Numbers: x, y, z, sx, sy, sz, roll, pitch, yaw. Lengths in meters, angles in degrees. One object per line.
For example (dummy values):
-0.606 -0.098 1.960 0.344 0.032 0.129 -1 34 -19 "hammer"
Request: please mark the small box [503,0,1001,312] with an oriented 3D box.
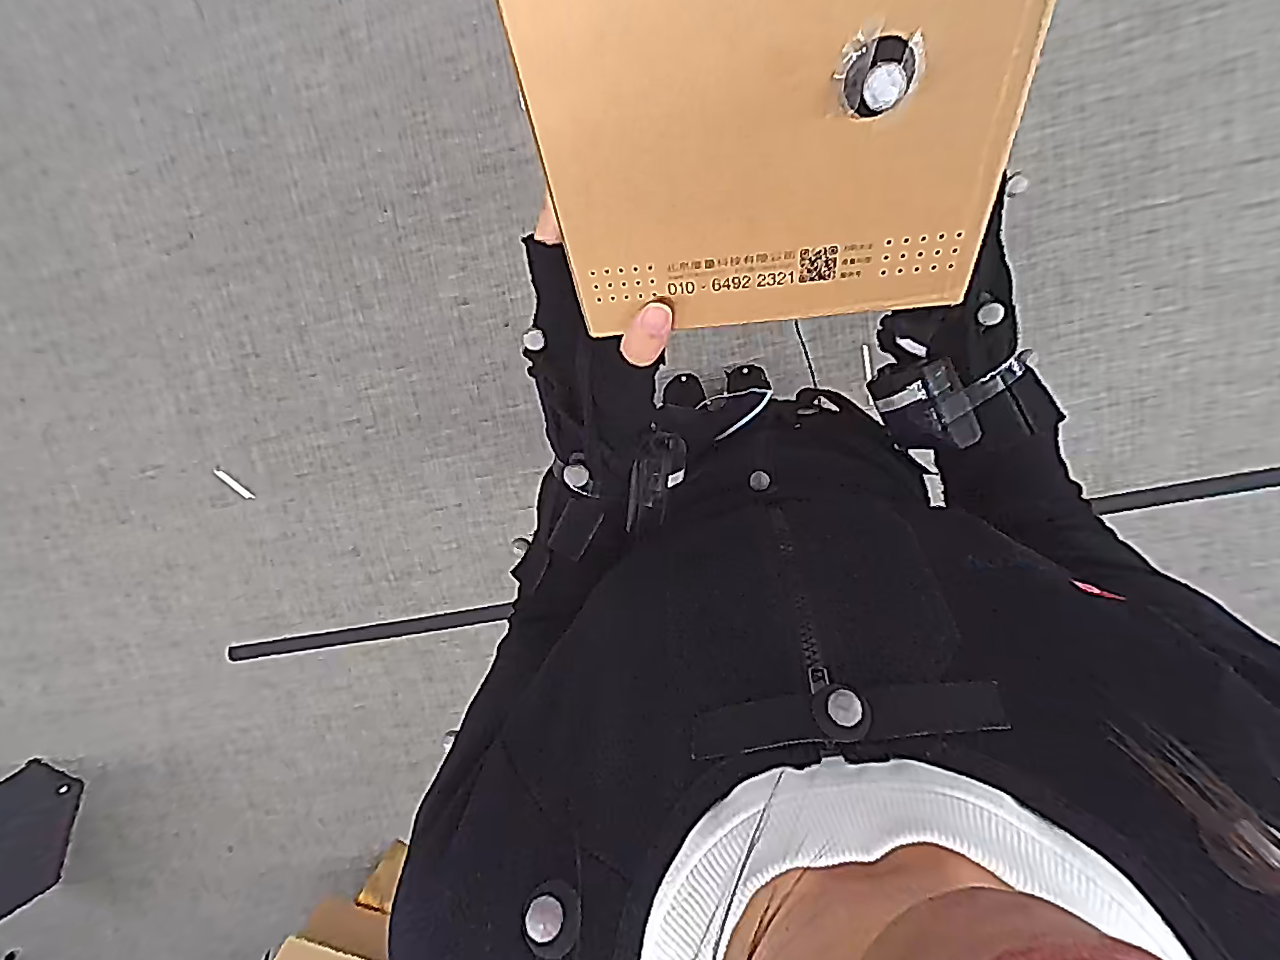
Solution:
0.053 -0.194 0.257 0.168 0.179 0.176 -1 139 11 "small box"
